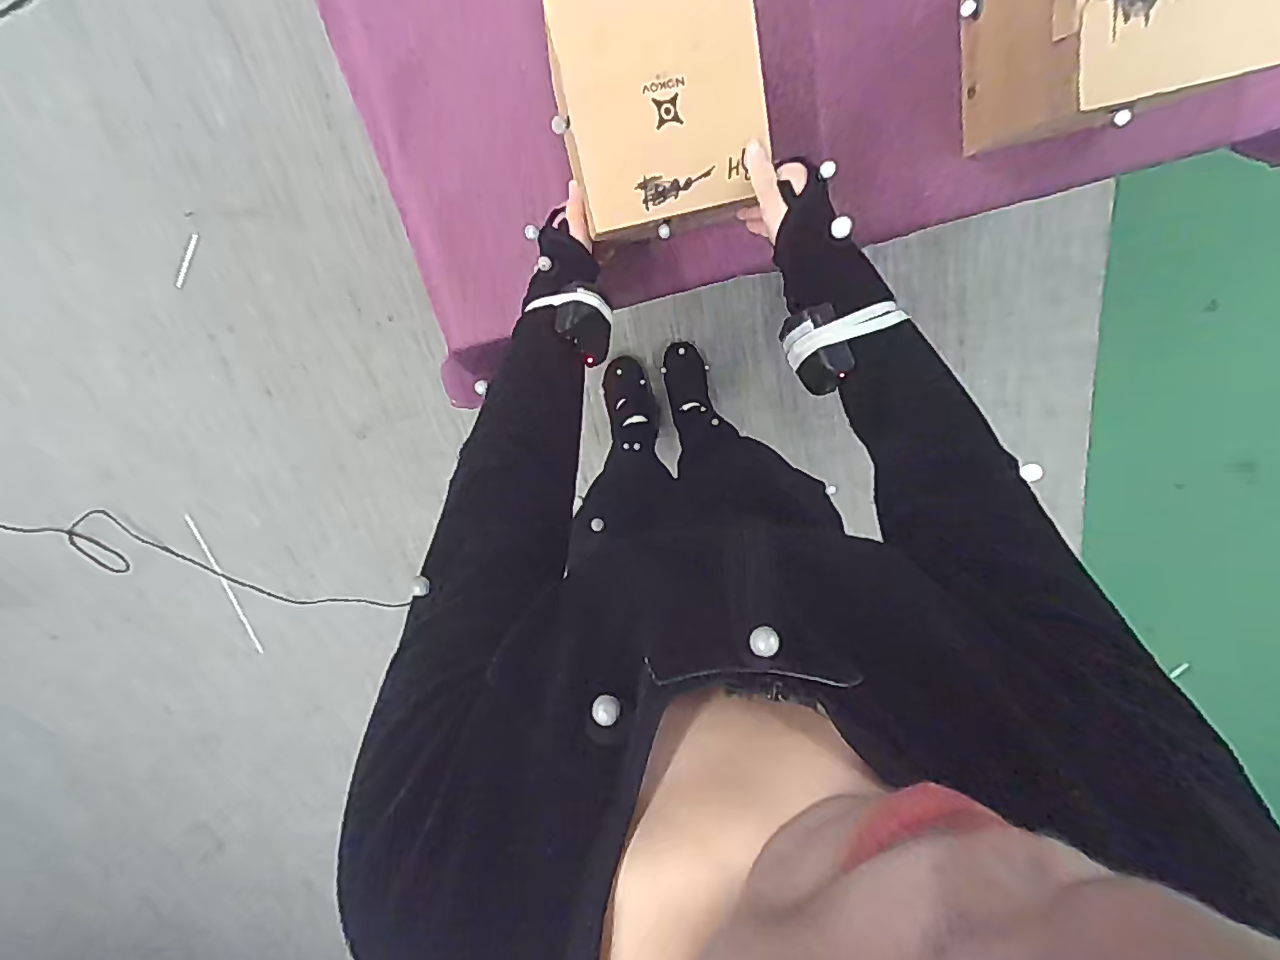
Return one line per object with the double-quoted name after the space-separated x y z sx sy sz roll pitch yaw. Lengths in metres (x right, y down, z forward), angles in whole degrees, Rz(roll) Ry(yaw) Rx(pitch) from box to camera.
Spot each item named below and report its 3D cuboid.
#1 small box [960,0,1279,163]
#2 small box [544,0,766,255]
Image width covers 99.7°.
0.429 -0.421 0.508 0.179 0.176 0.168 -12 109 3 "small box"
0.009 -0.333 0.527 0.168 0.176 0.179 -12 109 -2 "small box"
